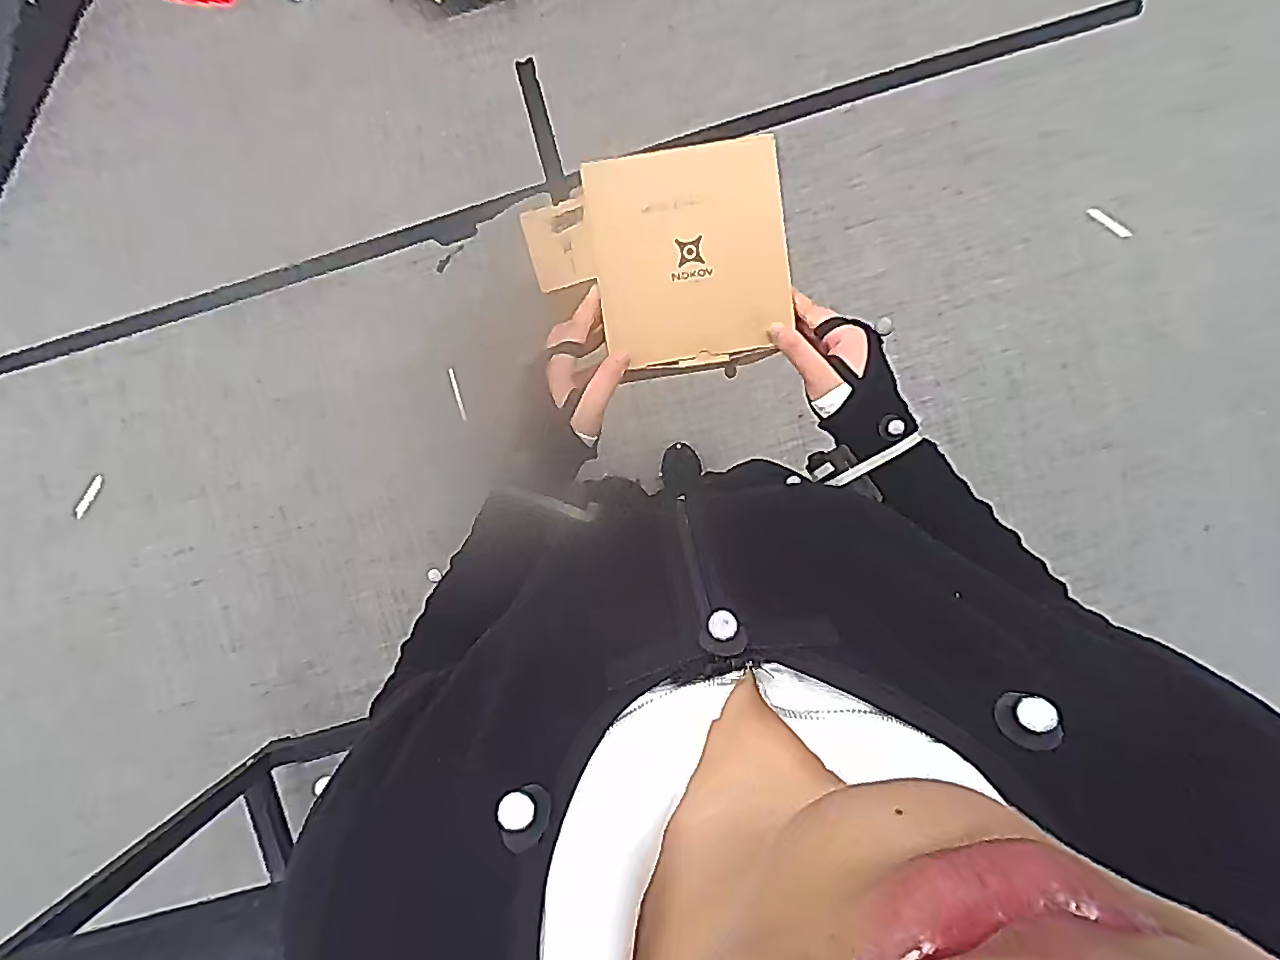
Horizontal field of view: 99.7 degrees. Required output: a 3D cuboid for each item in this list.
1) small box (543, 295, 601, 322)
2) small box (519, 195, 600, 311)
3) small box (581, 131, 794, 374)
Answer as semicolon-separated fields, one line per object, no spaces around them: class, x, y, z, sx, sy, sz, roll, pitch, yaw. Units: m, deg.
small box;-0.162;-0.520;1.385;0.179;0.176;0.168;-16;94;1
small box;-0.158;-0.505;1.221;0.168;0.176;0.179;-16;94;1
small box;0.041;-0.203;0.537;0.168;0.176;0.179;-9;97;-1
